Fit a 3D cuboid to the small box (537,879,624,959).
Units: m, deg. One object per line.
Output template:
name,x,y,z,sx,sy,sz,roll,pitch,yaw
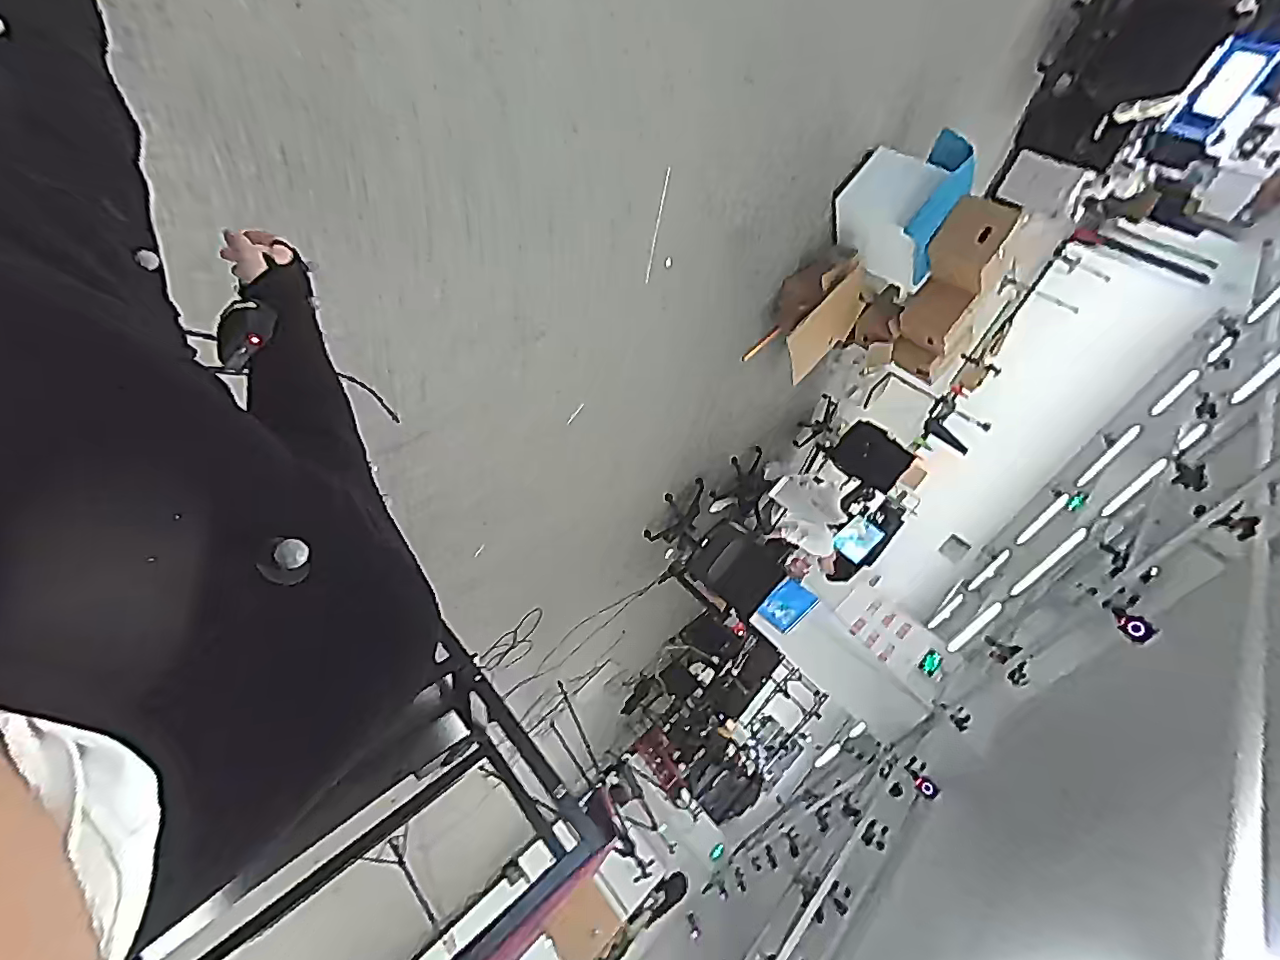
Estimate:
small box,-0.173,1.283,1.536,0.179,0.176,0.168,-29,148,-33
